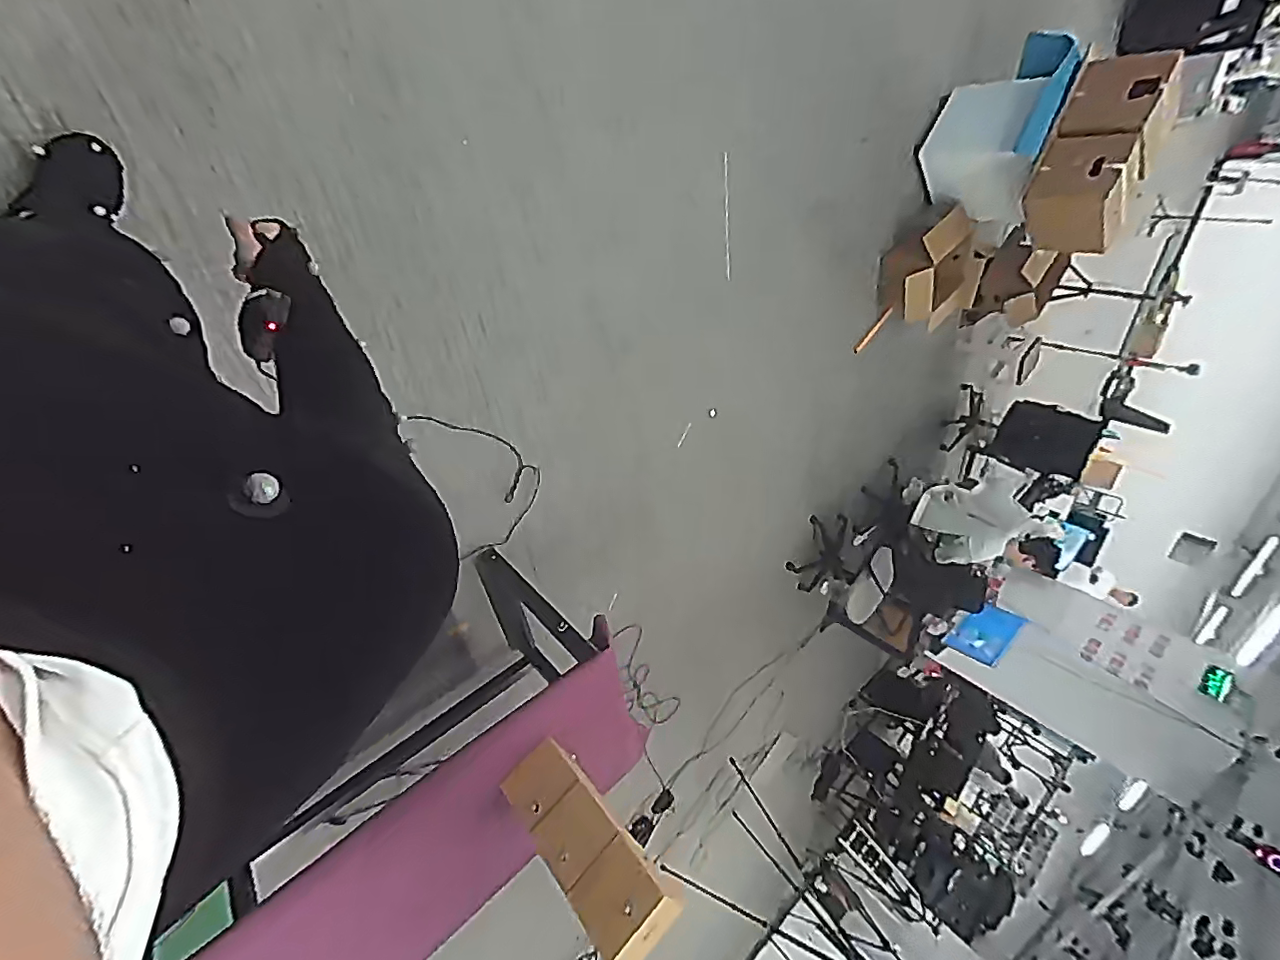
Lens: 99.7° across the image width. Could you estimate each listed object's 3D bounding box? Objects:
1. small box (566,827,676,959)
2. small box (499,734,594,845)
[{"bbox_3d":[-0.050,0.959,1.255,0.179,0.176,0.168,-43,136,-19],"label":"small box"},{"bbox_3d":[-0.261,0.840,1.474,0.179,0.176,0.168,-42,137,-20],"label":"small box"}]
